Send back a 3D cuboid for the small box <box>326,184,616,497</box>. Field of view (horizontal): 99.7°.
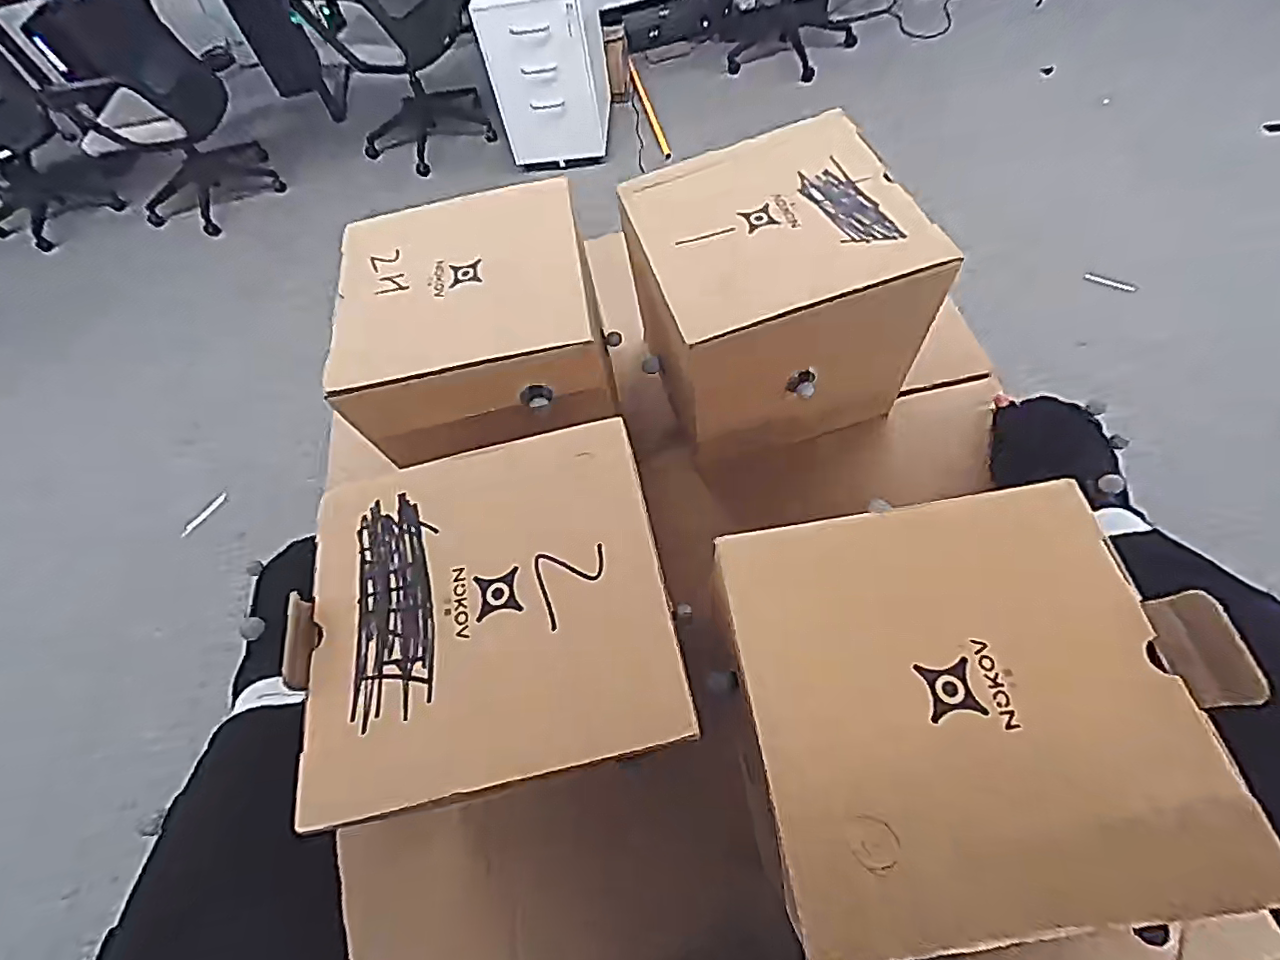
[{"bbox_3d":[-0.121,-0.104,0.454,0.179,0.176,0.168,-12,62,3],"label":"small box"}]
